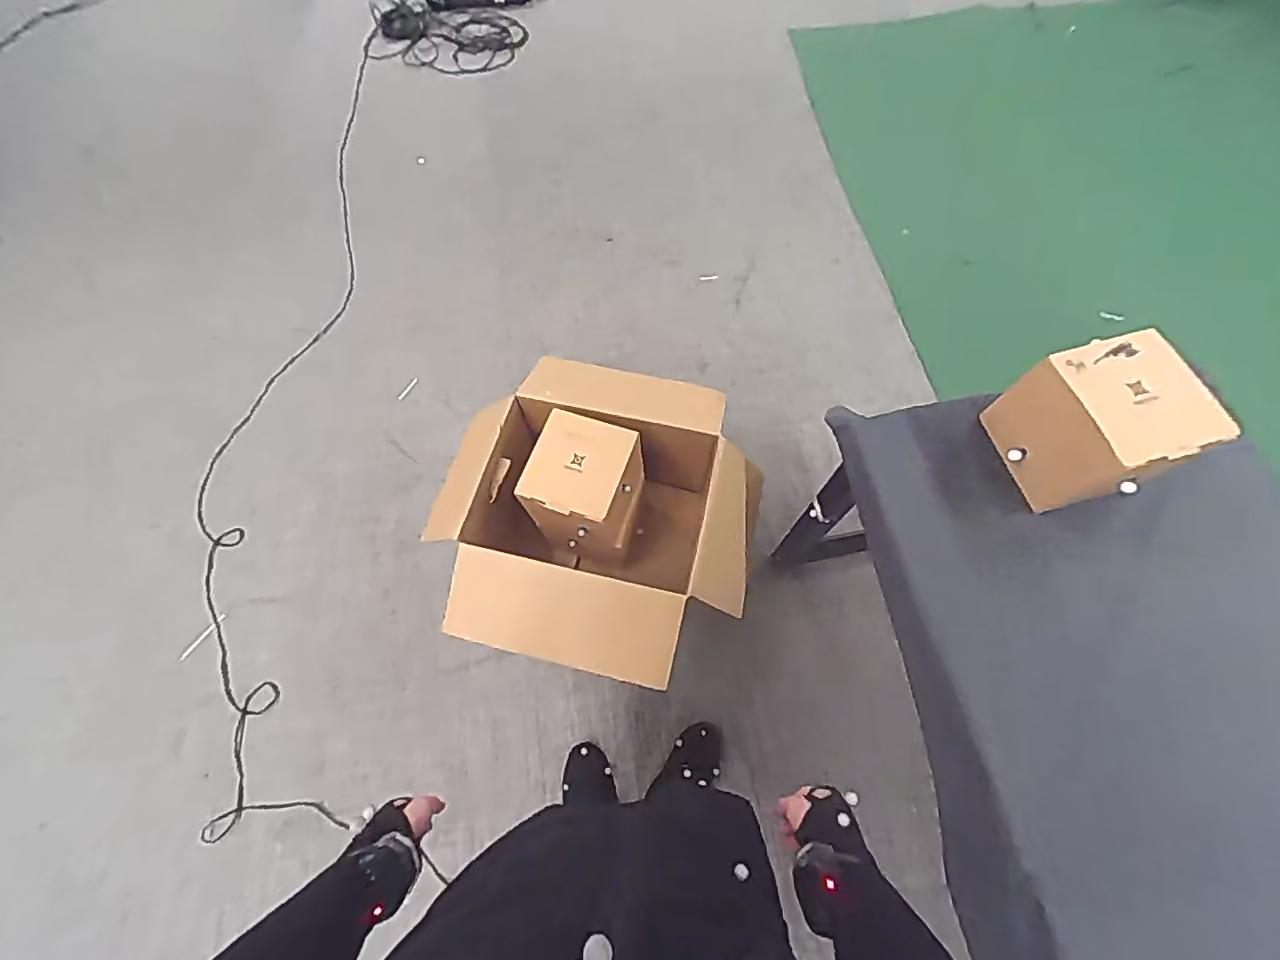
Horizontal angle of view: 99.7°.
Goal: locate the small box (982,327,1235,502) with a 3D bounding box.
[{"bbox_3d":[0.638,-0.081,0.765,0.168,0.176,0.179,-14,69,-5],"label":"small box"}]
